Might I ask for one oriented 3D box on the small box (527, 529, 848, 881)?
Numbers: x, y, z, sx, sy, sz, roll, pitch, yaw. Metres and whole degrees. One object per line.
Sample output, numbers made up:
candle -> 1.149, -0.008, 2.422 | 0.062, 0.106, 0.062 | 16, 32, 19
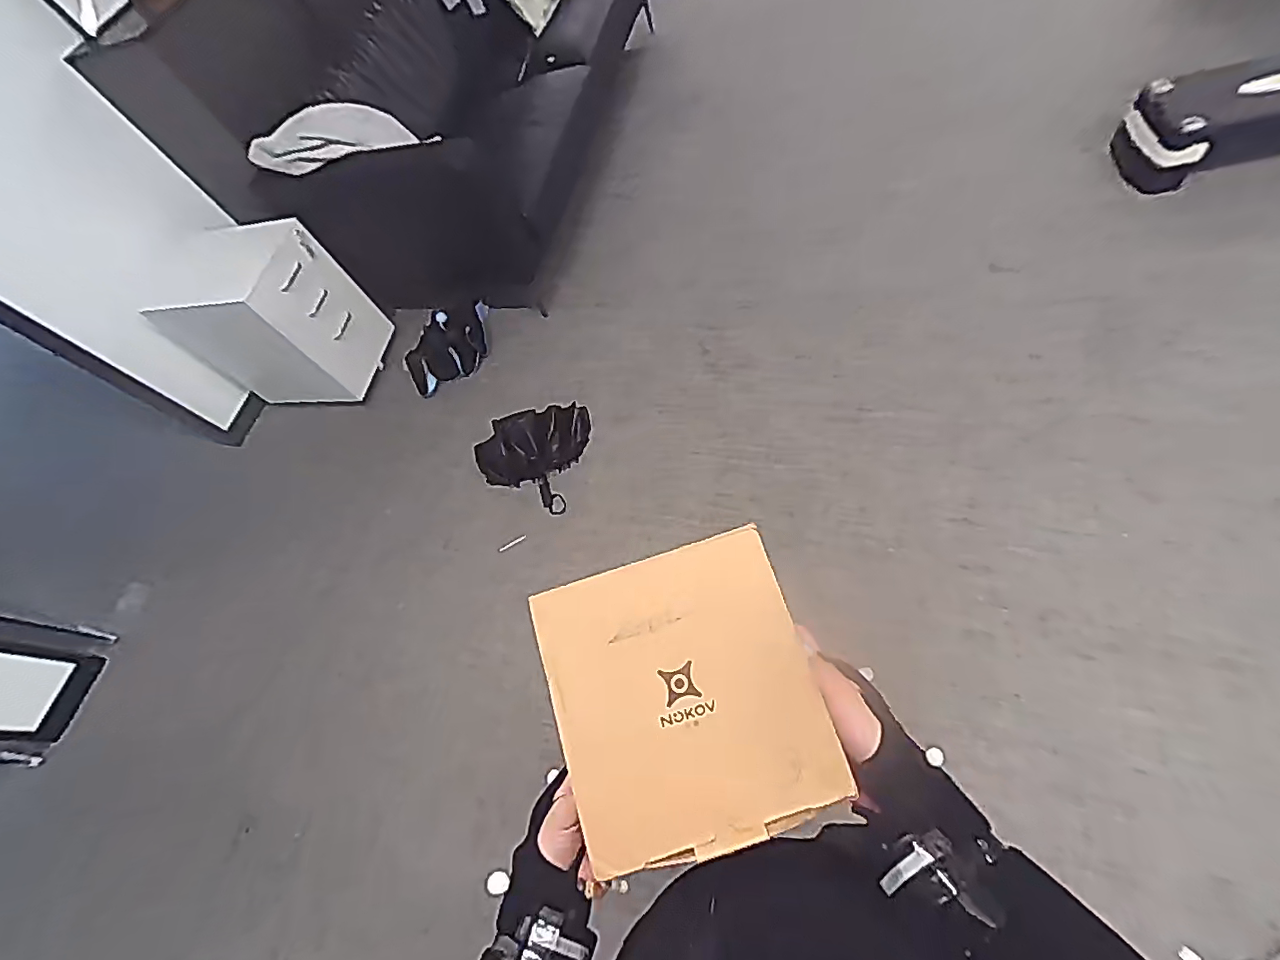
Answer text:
small box -> 0.031, 0.159, 0.420 | 0.168, 0.176, 0.179 | -18, 71, -2
